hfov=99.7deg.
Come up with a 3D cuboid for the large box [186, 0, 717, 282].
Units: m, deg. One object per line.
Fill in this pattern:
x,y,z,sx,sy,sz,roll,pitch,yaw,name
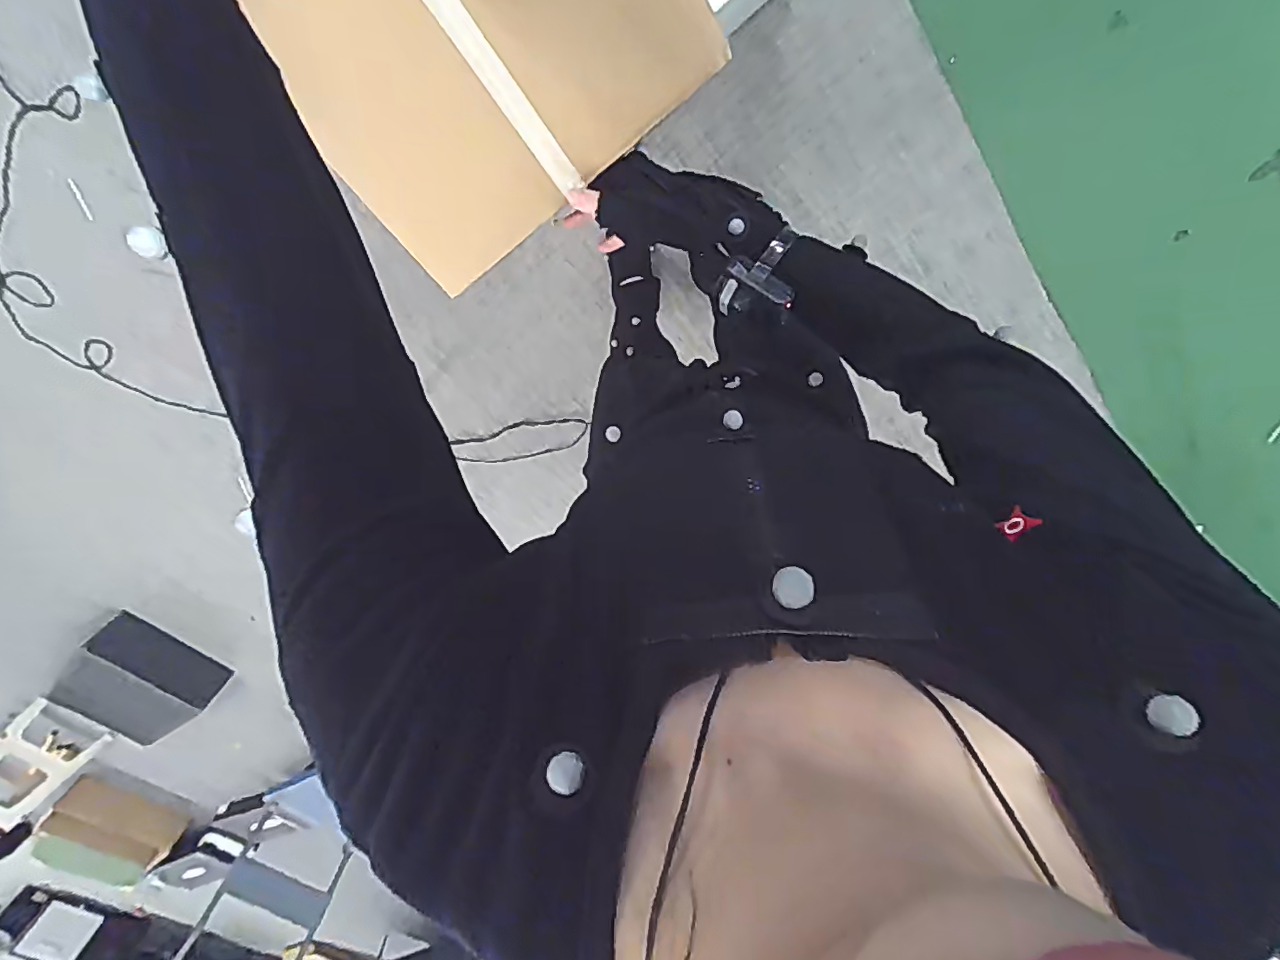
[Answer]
-0.169,-0.473,0.496,0.320,0.320,0.408,-30,119,22,large box
